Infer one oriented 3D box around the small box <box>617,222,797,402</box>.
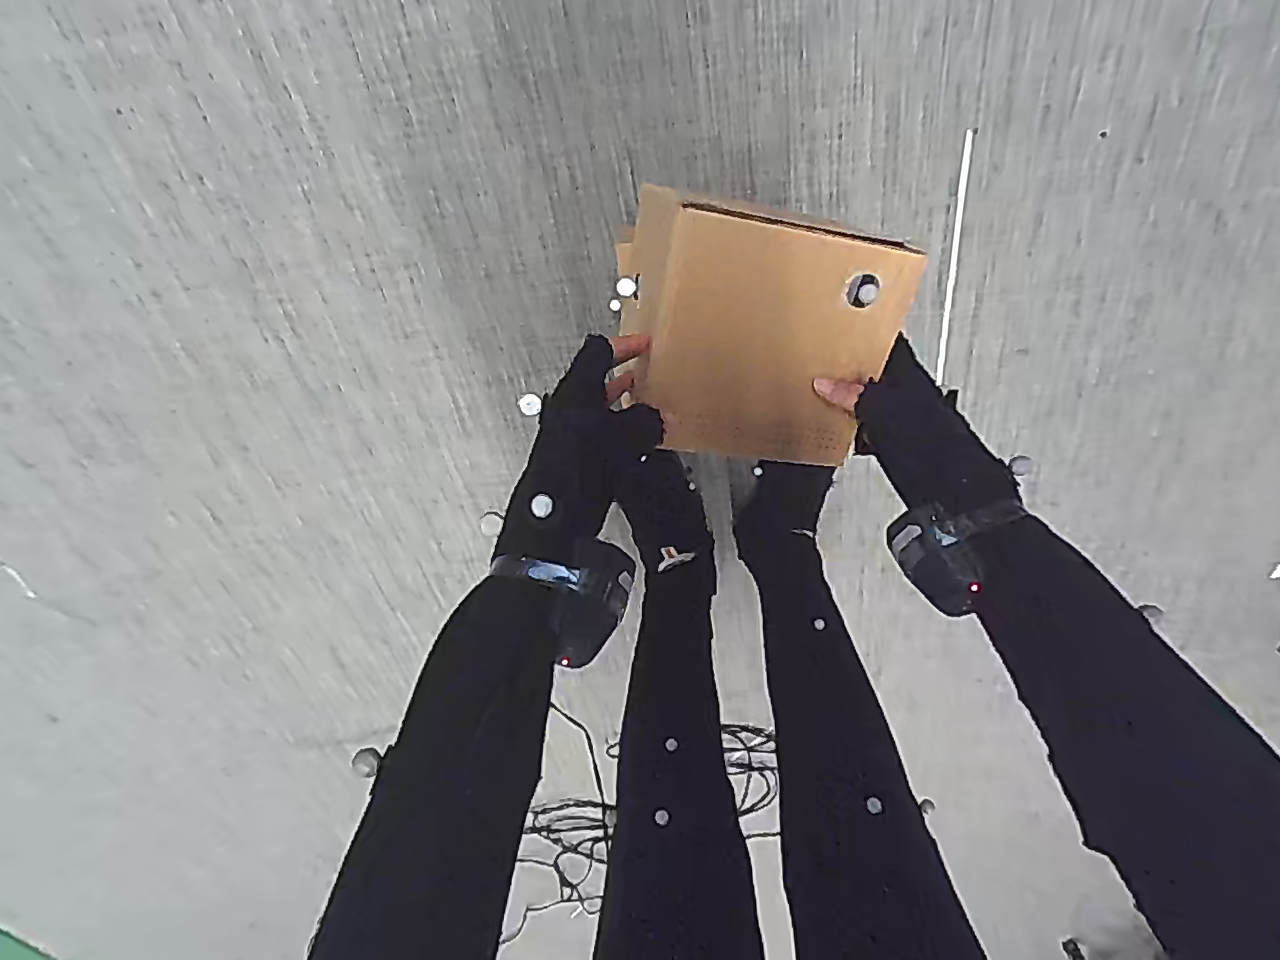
[{"bbox_3d":[0.071,-0.200,0.631,0.179,0.176,0.168,-3,120,2],"label":"small box"}]
